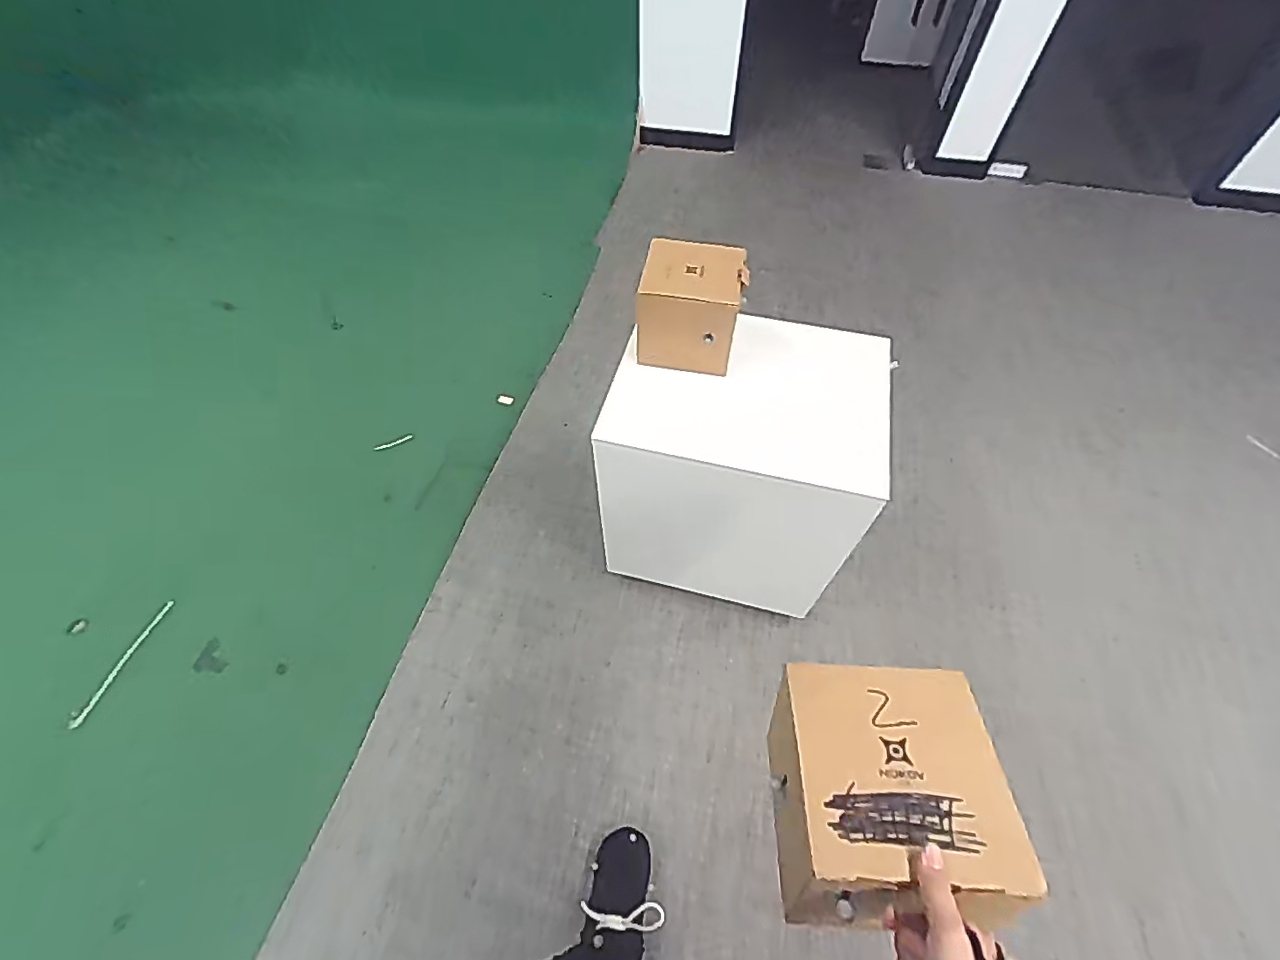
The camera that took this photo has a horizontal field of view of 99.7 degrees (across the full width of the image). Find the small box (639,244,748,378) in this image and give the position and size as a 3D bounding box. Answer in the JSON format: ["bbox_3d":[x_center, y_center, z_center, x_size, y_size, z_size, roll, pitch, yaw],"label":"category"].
[{"bbox_3d":[0.097,-0.311,1.011,0.179,0.176,0.168,8,55,6],"label":"small box"}]
